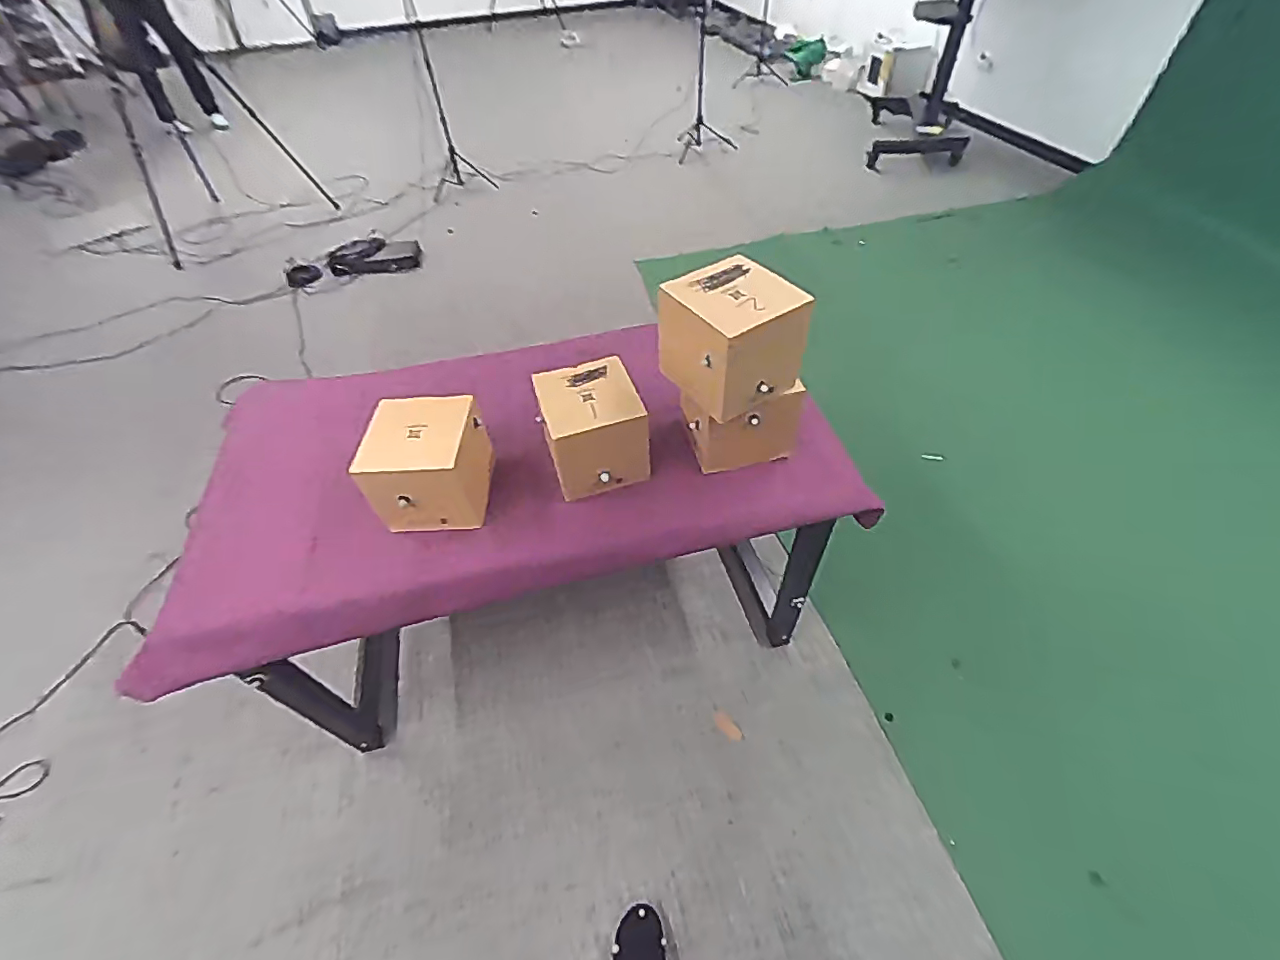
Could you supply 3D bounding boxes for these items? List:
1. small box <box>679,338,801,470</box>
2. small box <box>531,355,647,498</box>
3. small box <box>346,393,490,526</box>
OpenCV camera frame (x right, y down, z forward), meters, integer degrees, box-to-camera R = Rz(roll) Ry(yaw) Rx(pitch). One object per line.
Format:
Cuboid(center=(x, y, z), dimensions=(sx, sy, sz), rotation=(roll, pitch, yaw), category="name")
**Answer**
Cuboid(center=(0.176, -0.137, 1.012), dimensions=(0.179, 0.176, 0.168), rotation=(-11, 49, -7), category="small box")
Cuboid(center=(-0.091, -0.097, 0.988), dimensions=(0.168, 0.176, 0.179), rotation=(-15, 51, -10), category="small box")
Cuboid(center=(-0.371, -0.030, 0.944), dimensions=(0.168, 0.176, 0.179), rotation=(-2, 48, 1), category="small box")
